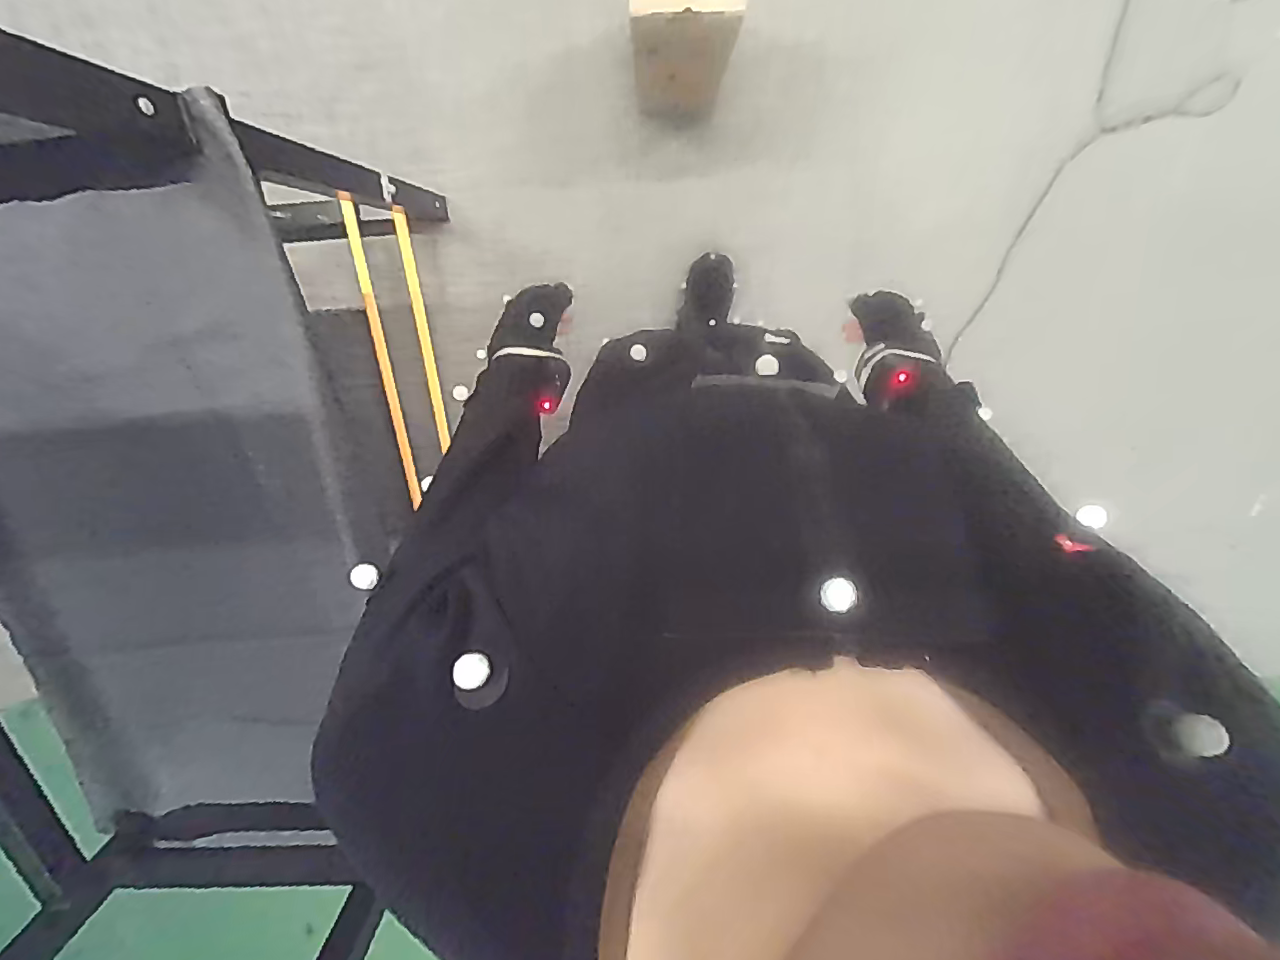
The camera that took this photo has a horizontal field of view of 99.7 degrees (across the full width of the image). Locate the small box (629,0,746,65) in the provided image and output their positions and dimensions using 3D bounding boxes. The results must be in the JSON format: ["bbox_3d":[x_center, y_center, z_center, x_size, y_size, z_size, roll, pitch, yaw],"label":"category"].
[{"bbox_3d":[0.072,-0.751,0.808,0.168,0.176,0.179,1,110,2],"label":"small box"}]

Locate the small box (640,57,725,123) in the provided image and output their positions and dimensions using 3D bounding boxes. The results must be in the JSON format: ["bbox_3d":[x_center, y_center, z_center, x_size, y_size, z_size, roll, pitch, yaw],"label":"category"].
[{"bbox_3d":[0.087,-0.864,1.114,0.168,0.176,0.179,3,111,2],"label":"small box"}]
